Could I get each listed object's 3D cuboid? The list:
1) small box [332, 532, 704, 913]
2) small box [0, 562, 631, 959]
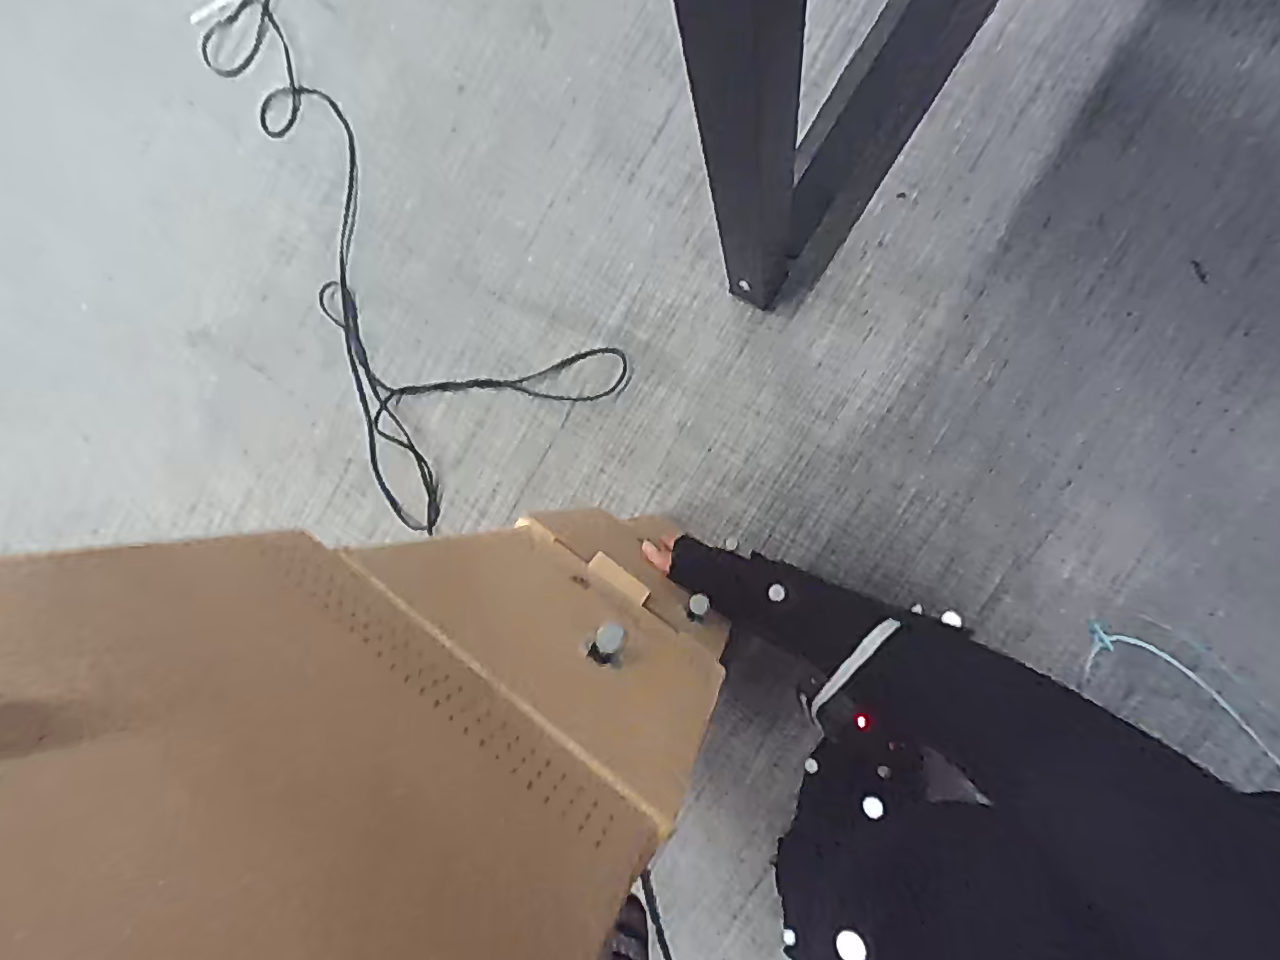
[{"bbox_3d":[-0.080,0.144,0.289,0.168,0.176,0.179,35,99,12],"label":"small box"},{"bbox_3d":[-0.130,0.136,0.133,0.179,0.176,0.168,35,99,12],"label":"small box"}]
